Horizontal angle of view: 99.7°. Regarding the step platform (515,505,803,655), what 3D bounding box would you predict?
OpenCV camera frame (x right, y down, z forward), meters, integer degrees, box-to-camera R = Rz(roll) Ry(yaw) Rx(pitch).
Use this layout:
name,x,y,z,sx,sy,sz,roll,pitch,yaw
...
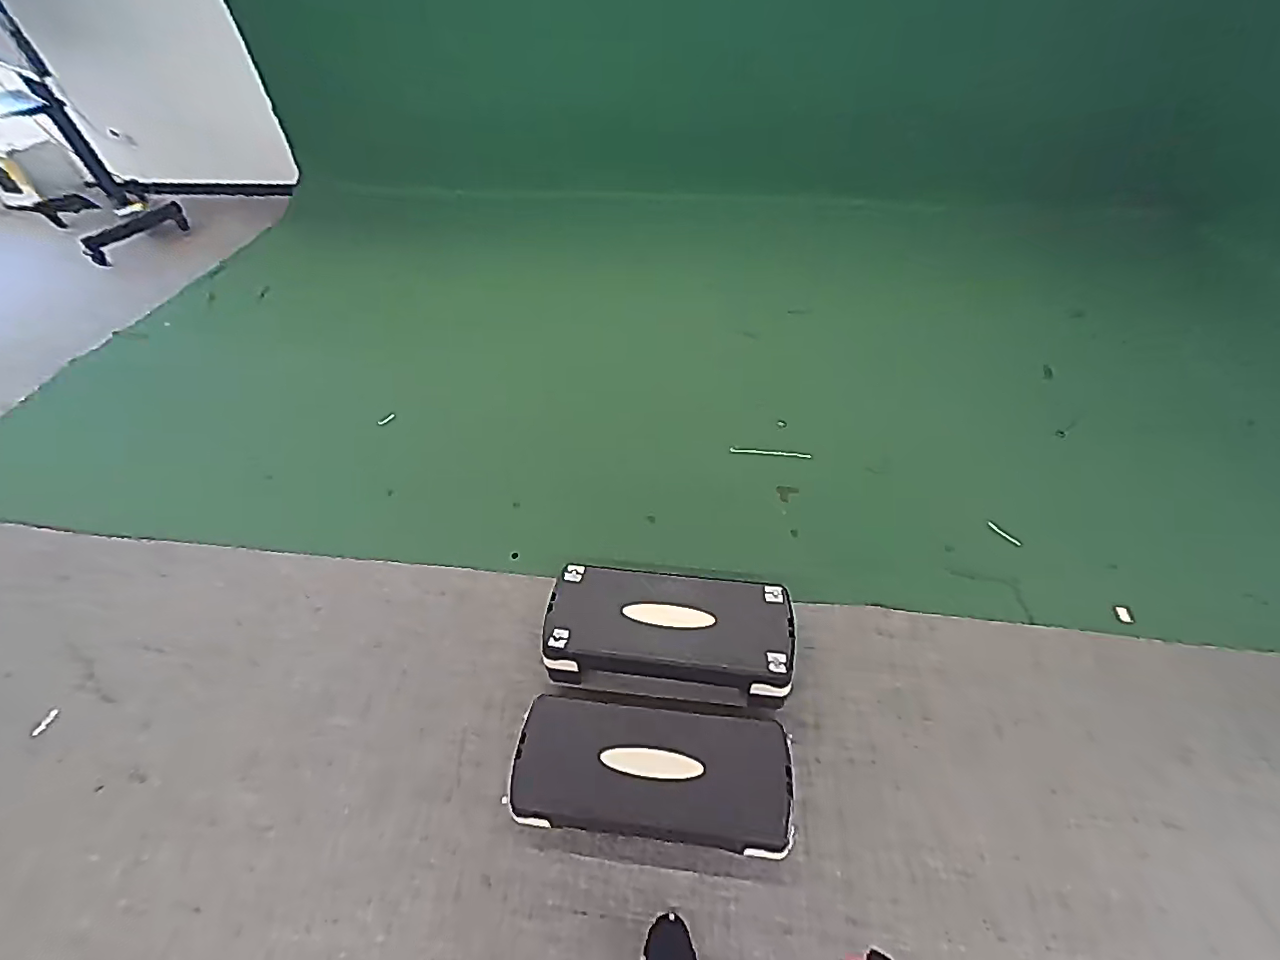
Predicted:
name,x,y,z,sx,sy,sz,roll,pitch,yaw
step platform,0.048,0.254,1.376,0.684,0.204,0.286,4,49,6
